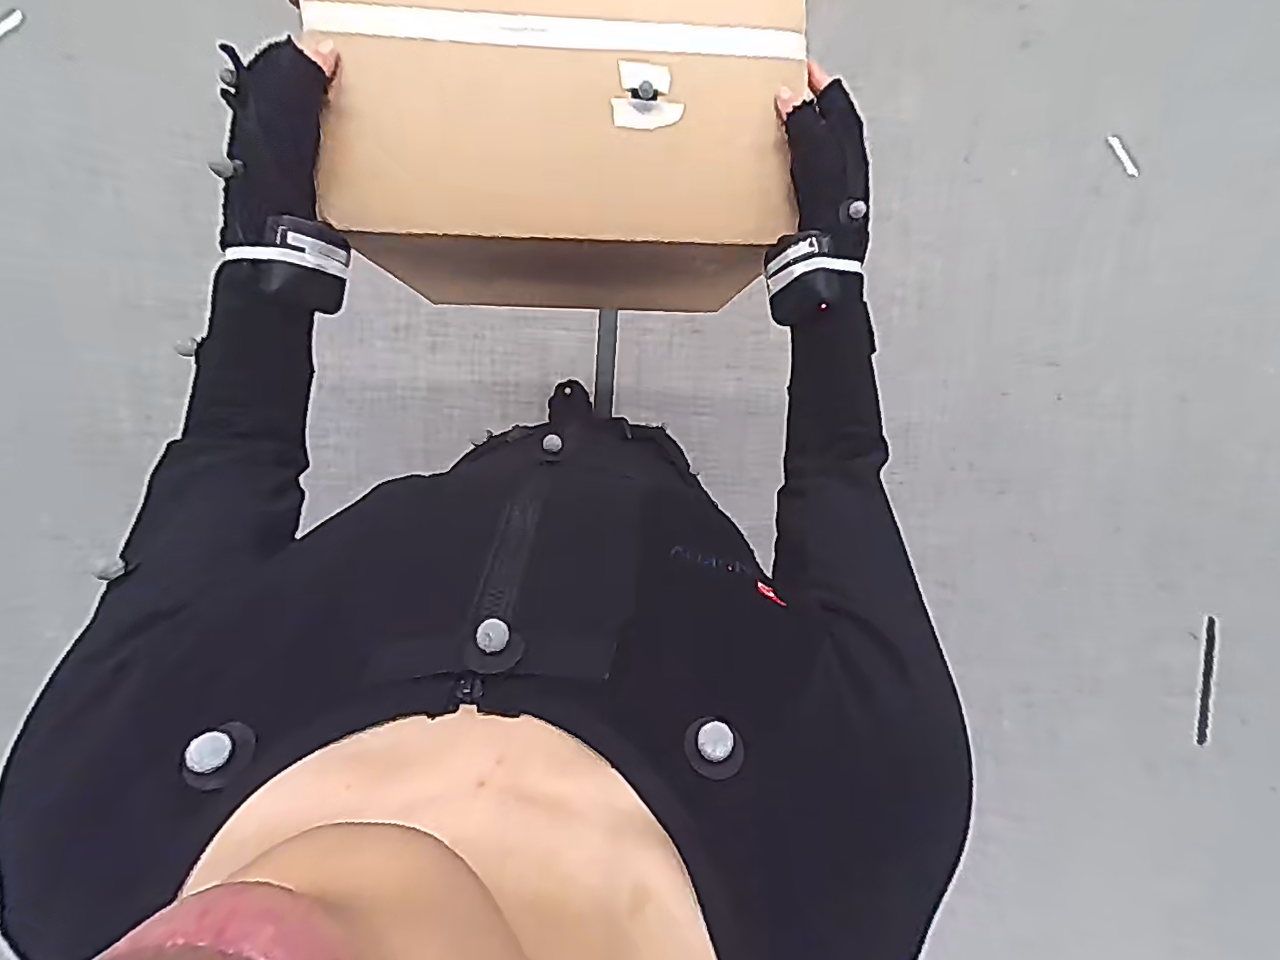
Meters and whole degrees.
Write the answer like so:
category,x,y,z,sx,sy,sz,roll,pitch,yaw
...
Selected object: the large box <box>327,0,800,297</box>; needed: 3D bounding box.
category,x,y,z,sx,sy,sz,roll,pitch,yaw
large box,-0.074,-0.394,0.604,0.408,0.320,0.320,0,98,-6
